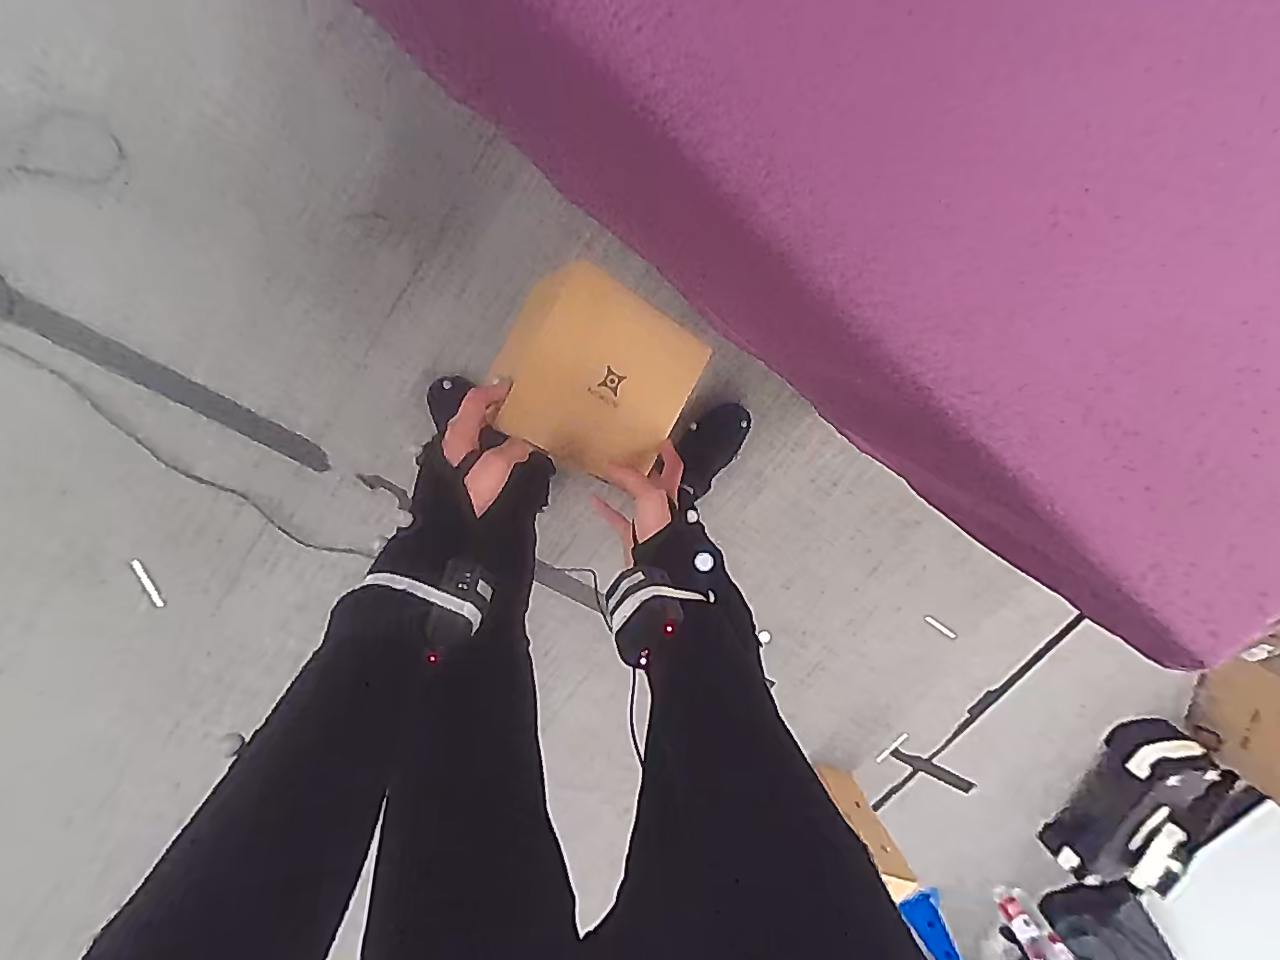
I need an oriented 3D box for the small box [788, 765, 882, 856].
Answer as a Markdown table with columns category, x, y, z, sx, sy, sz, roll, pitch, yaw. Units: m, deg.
| category | x | y | z | sx | sy | sz | roll | pitch | yaw |
| --- | --- | --- | --- | --- | --- | --- | --- | --- | --- |
| small box | 0.600 | 1.023 | 1.680 | 0.179 | 0.176 | 0.168 | 29 | 106 | -23 |
